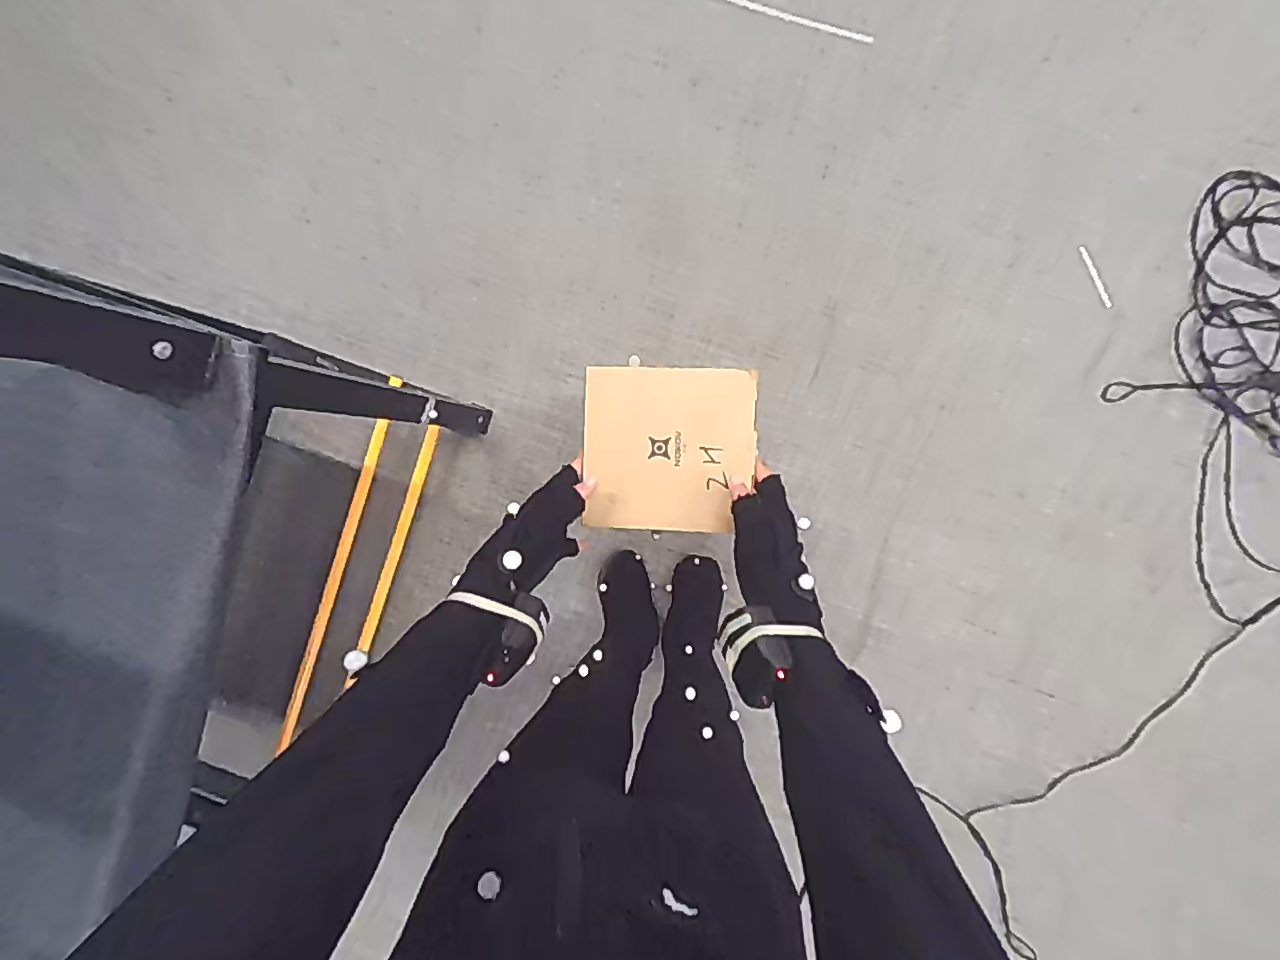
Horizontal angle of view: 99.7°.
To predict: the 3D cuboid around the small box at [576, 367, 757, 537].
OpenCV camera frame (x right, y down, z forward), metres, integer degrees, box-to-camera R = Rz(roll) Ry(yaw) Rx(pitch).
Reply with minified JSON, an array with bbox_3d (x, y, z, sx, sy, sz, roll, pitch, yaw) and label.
[{"bbox_3d":[0.033,-0.032,0.620,0.179,0.176,0.168,3,94,6],"label":"small box"}]
